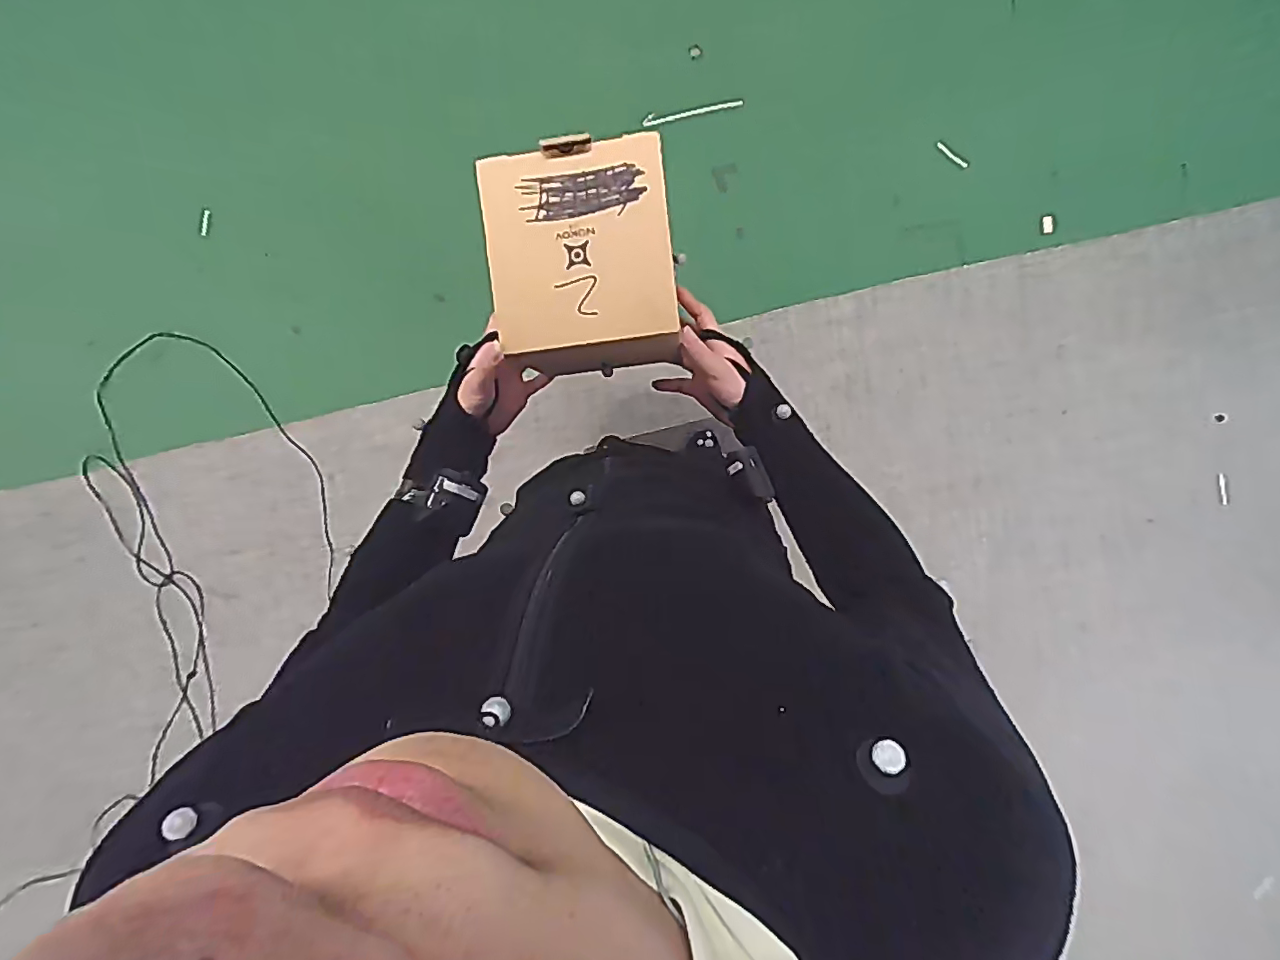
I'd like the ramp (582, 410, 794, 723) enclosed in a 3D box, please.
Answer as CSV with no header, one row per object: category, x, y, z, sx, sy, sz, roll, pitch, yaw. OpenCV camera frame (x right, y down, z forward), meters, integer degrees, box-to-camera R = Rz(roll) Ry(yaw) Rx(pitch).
ramp,0.178,0.310,1.719,0.509,0.206,0.991,-15,95,2
